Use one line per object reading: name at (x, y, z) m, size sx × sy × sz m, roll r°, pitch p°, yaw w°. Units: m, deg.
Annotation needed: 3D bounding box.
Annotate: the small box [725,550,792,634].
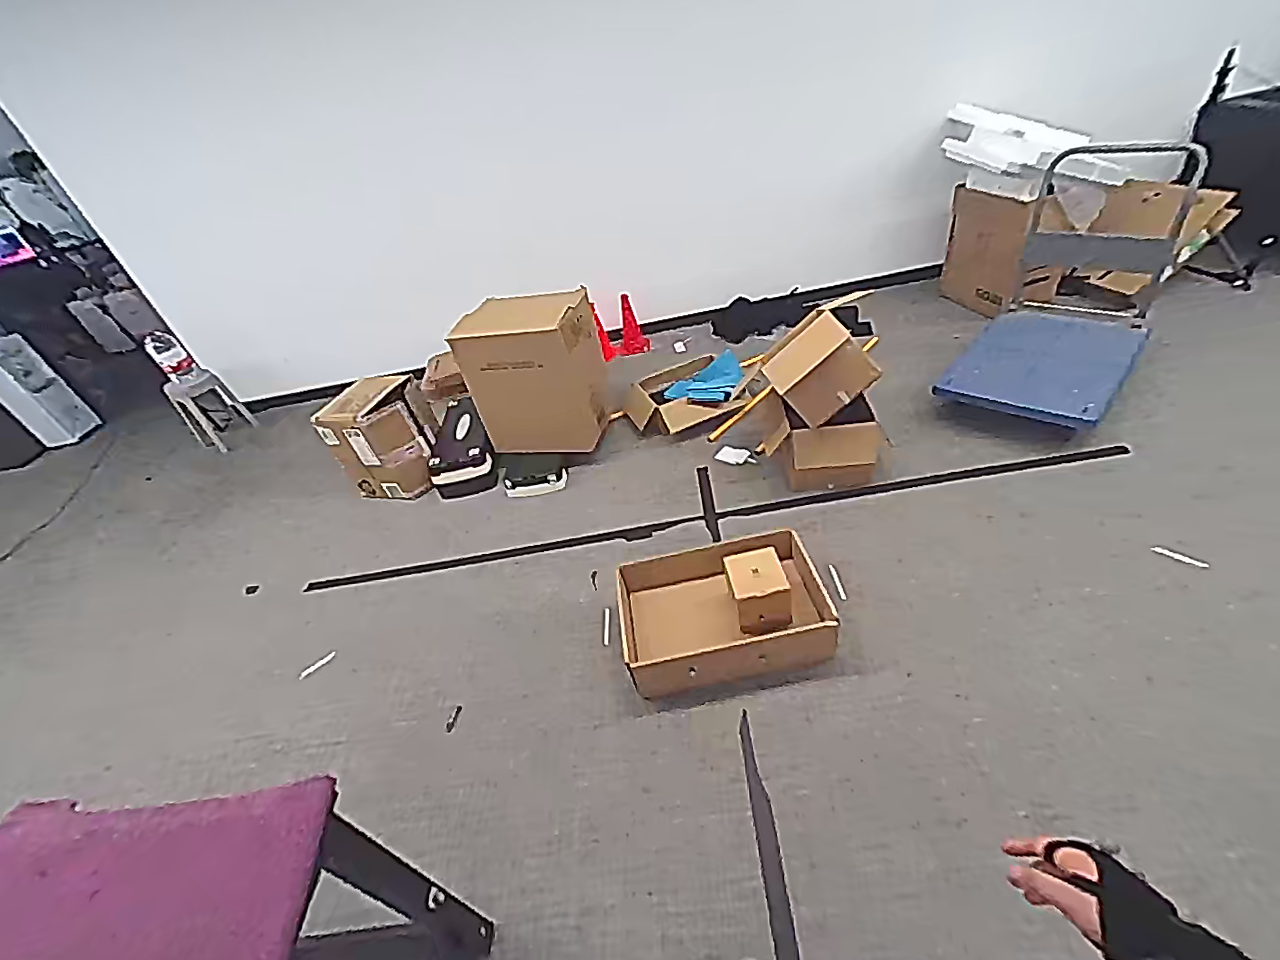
small box at (0.373, 0.353, 1.705) m, size 0.168 × 0.176 × 0.179 m, roll -13°, pitch 38°, yaw 2°
